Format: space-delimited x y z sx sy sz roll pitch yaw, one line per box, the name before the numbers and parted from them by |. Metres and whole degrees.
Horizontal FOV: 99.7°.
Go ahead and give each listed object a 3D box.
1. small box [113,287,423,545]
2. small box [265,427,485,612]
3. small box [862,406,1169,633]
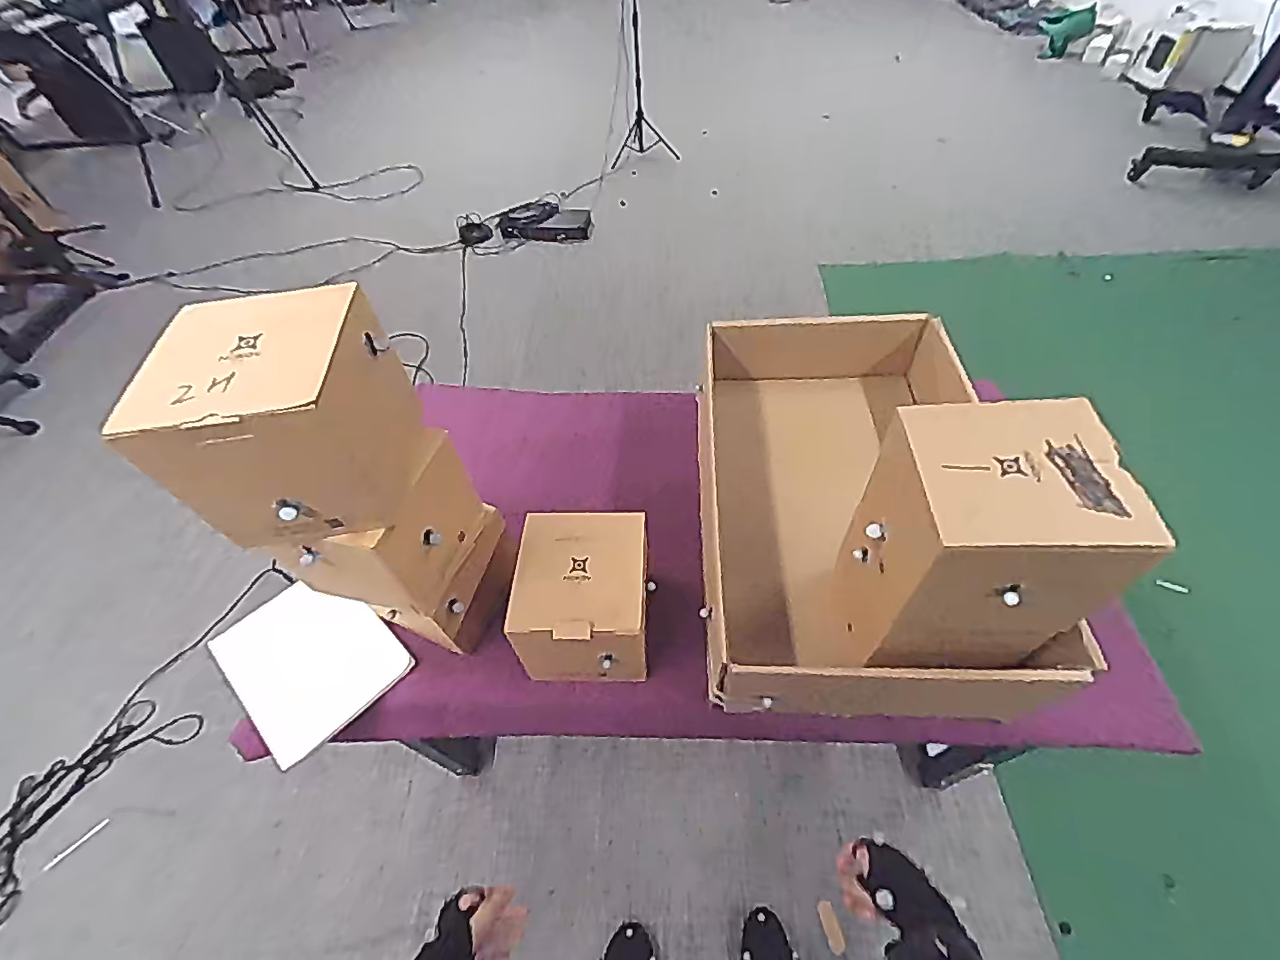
small box | -0.329 -0.060 0.530 0.168 0.176 0.179 -8 52 -1
small box | -0.314 0.043 0.657 0.179 0.176 0.168 9 53 12
small box | 0.343 0.043 0.543 0.179 0.176 0.168 -1 51 7
